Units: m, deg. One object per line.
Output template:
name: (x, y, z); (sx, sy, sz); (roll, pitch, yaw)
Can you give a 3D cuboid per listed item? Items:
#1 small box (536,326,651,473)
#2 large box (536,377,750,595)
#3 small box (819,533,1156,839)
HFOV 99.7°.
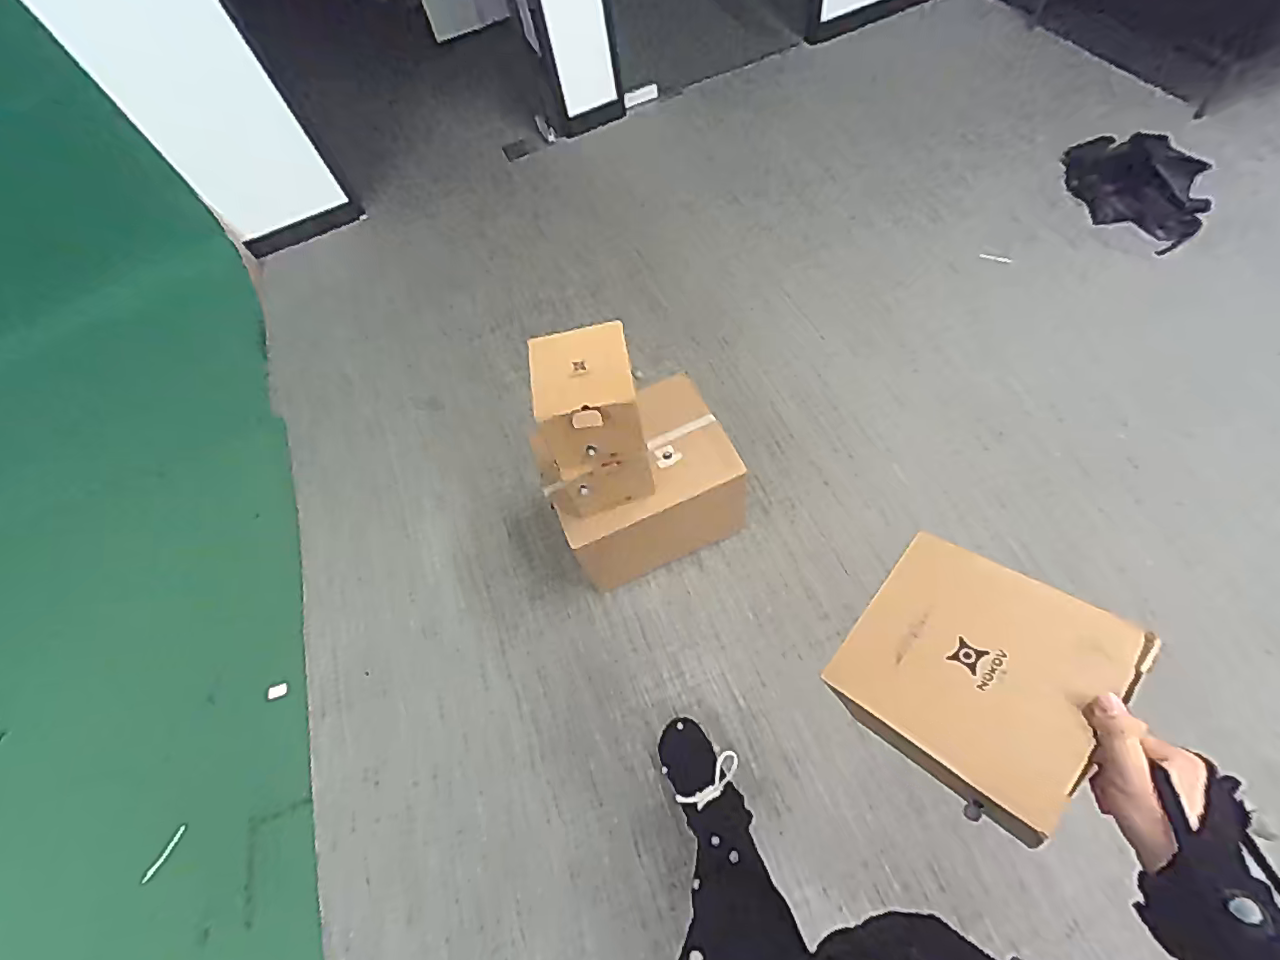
small box: (-0.078, -0.137, 0.951); (0.168, 0.176, 0.179); (-11, 60, 2)
large box: (0.013, 0.025, 1.318); (0.408, 0.320, 0.320); (-23, 61, -6)
small box: (0.295, 0.181, 0.479); (0.179, 0.176, 0.168); (29, 76, 44)
